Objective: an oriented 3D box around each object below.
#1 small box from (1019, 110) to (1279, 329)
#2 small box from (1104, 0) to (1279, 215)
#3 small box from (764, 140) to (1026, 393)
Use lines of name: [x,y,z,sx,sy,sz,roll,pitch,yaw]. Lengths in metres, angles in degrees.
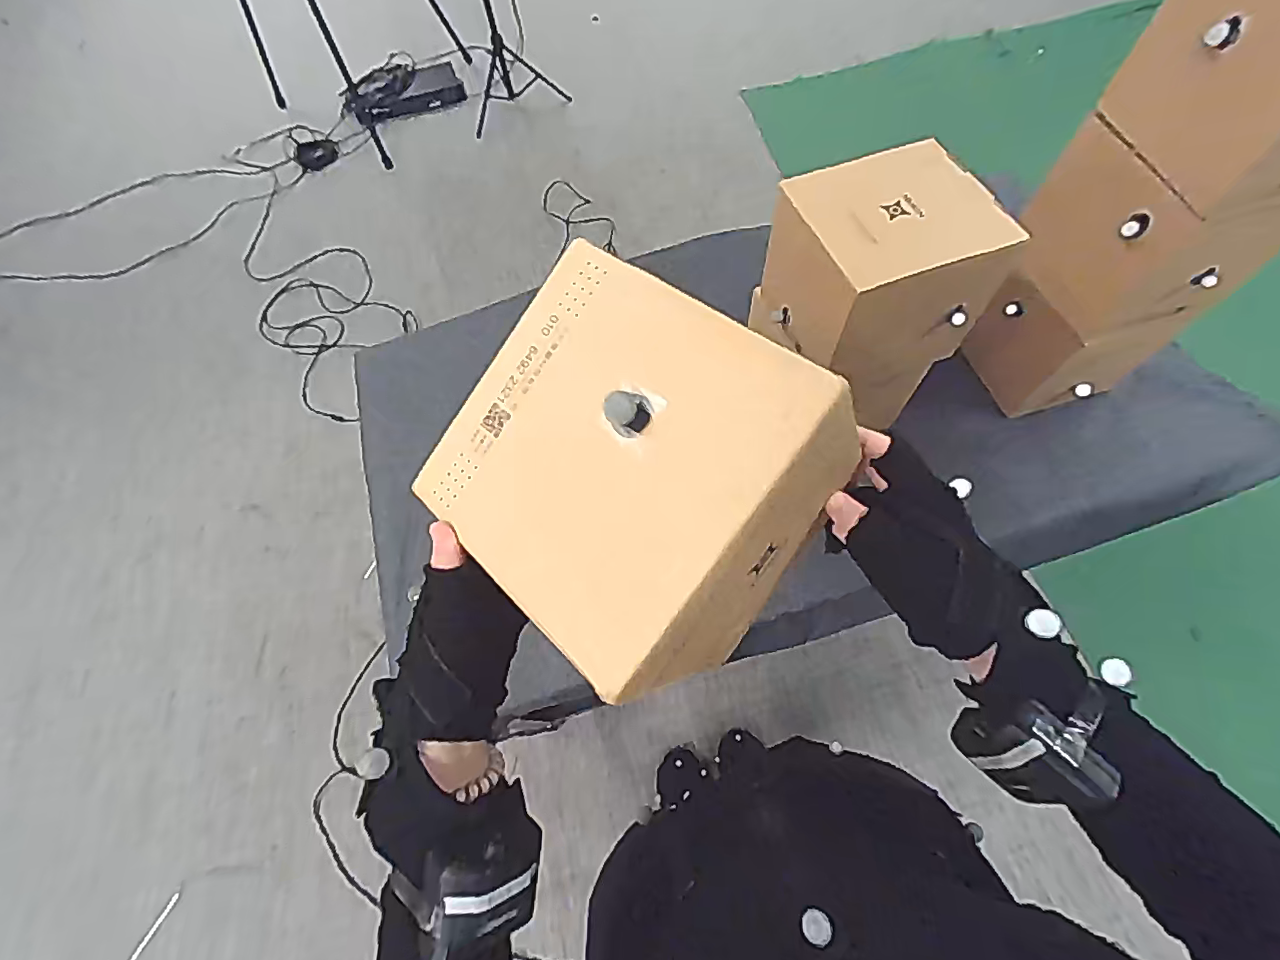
small box: [0.569,-0.290,0.598,0.168,0.176,0.179,-14,64,-2]
small box: [0.556,-0.359,0.450,0.168,0.176,0.179,-13,64,-1]
small box: [0.255,-0.224,0.593,0.179,0.176,0.168,-18,64,-4]
